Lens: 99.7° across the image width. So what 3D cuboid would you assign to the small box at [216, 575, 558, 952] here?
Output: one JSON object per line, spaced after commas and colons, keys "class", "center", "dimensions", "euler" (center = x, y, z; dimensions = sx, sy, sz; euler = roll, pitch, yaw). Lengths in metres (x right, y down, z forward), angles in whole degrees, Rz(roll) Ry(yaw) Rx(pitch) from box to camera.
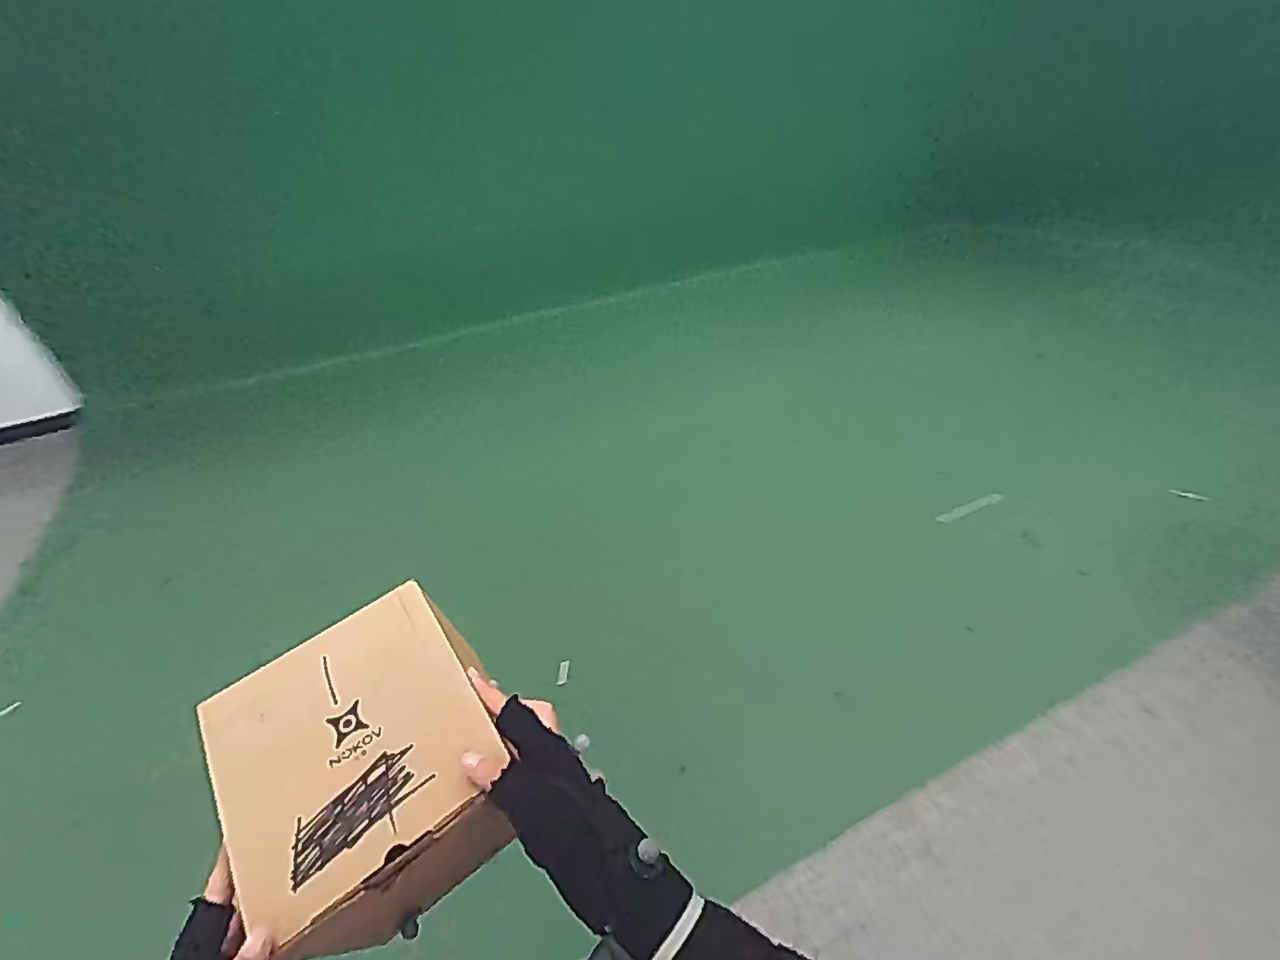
{"class": "small box", "center": [-0.183, 0.216, 0.428], "dimensions": [0.168, 0.176, 0.179], "euler": [-30, 55, -19]}
